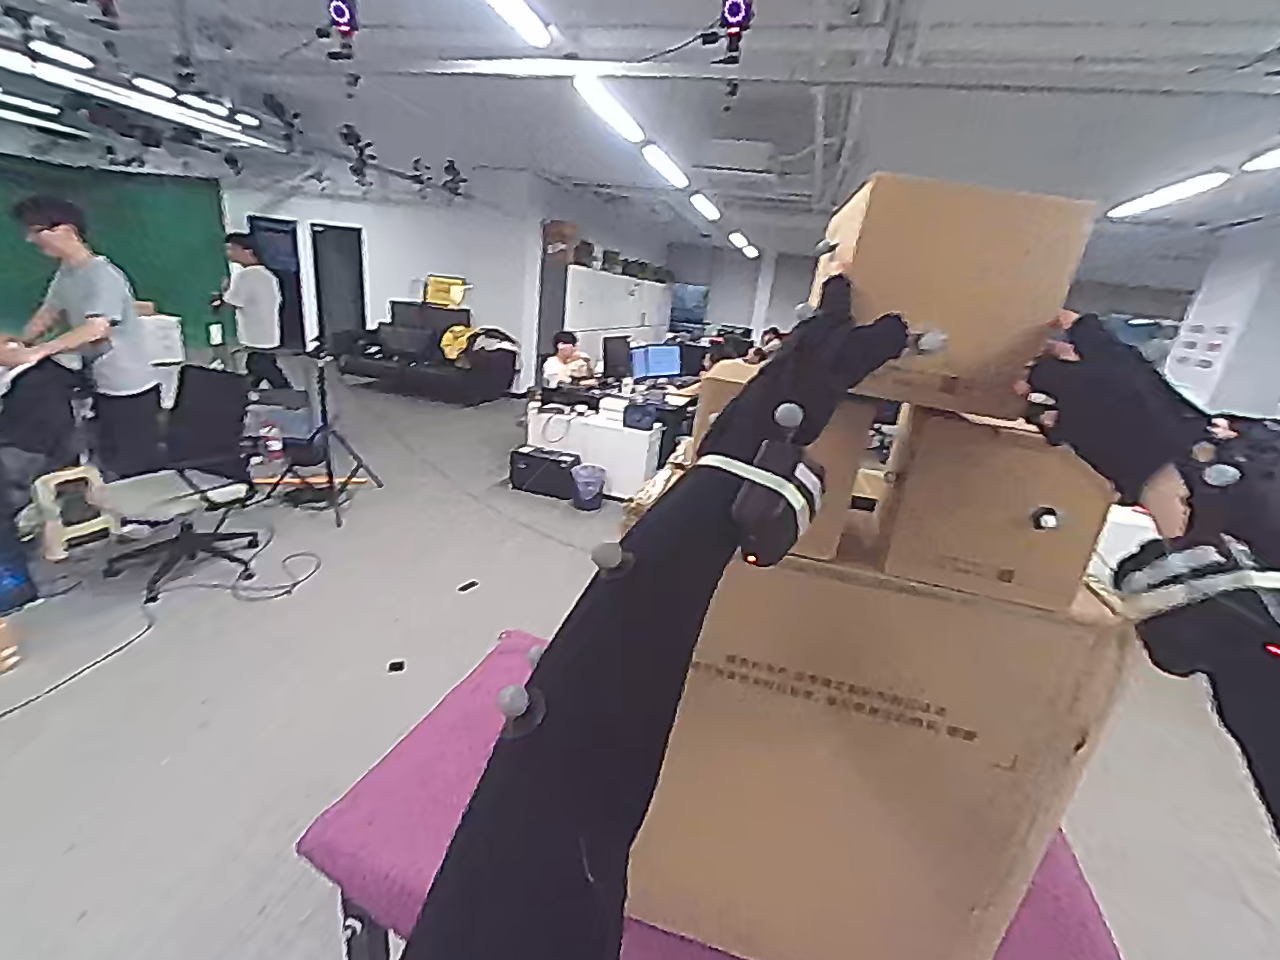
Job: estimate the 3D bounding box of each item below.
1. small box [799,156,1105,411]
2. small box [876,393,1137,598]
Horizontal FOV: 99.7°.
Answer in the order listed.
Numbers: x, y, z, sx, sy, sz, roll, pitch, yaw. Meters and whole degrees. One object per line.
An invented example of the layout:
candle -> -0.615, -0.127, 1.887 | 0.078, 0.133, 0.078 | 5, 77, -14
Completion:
small box -> 0.255, -0.170, 0.500 | 0.168, 0.176, 0.179 | 12, 17, 6
small box -> 0.358, 0.002, 0.570 | 0.168, 0.176, 0.179 | 12, 18, 16
